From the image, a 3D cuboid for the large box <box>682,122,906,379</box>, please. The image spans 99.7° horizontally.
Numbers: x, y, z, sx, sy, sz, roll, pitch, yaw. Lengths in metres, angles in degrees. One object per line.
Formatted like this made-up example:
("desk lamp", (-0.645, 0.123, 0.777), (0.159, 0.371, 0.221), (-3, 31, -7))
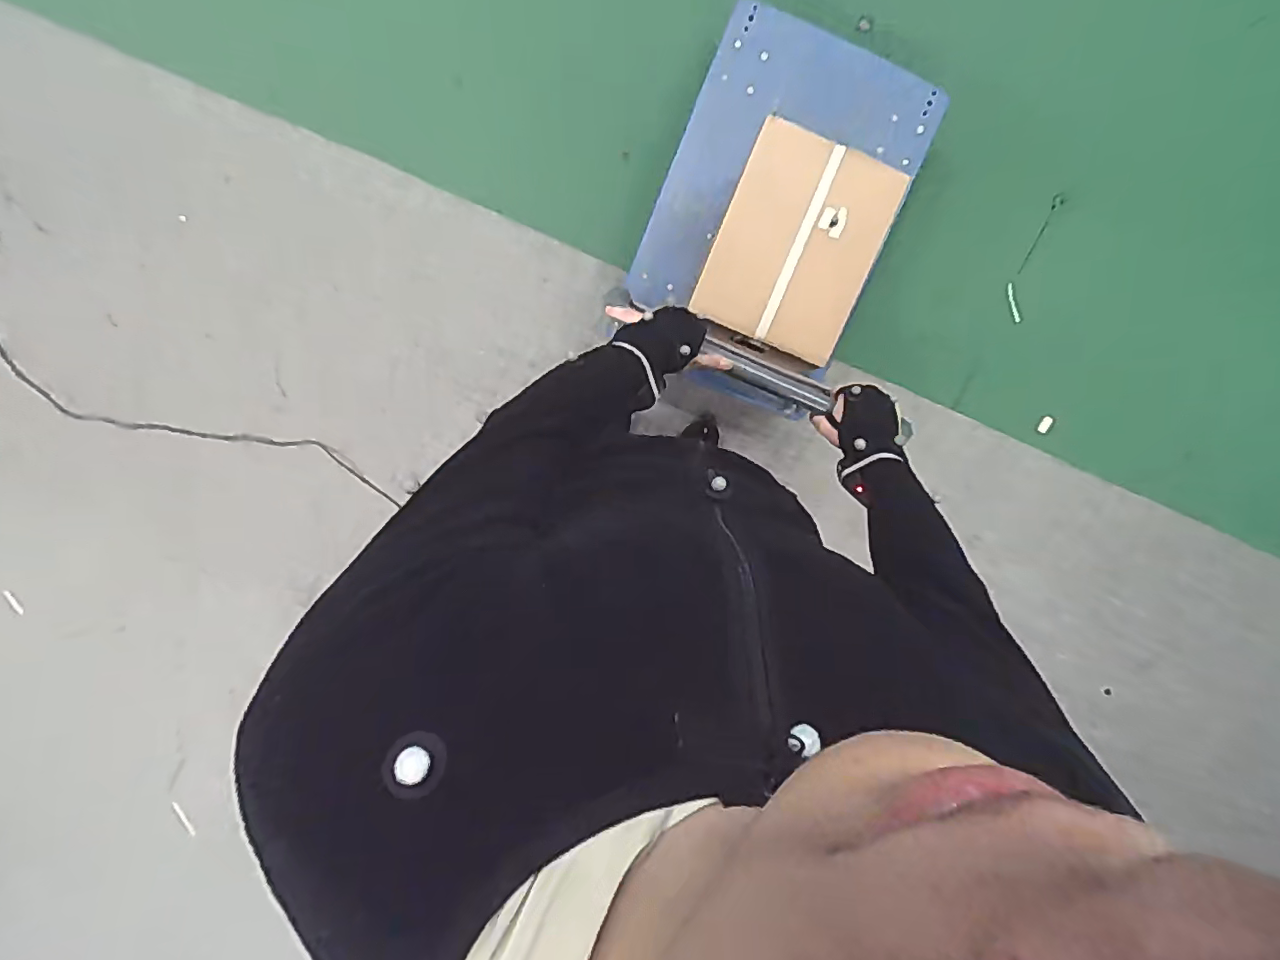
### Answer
("large box", (0.313, -0.476, 1.224), (0.320, 0.320, 0.408), (22, 96, -4))
